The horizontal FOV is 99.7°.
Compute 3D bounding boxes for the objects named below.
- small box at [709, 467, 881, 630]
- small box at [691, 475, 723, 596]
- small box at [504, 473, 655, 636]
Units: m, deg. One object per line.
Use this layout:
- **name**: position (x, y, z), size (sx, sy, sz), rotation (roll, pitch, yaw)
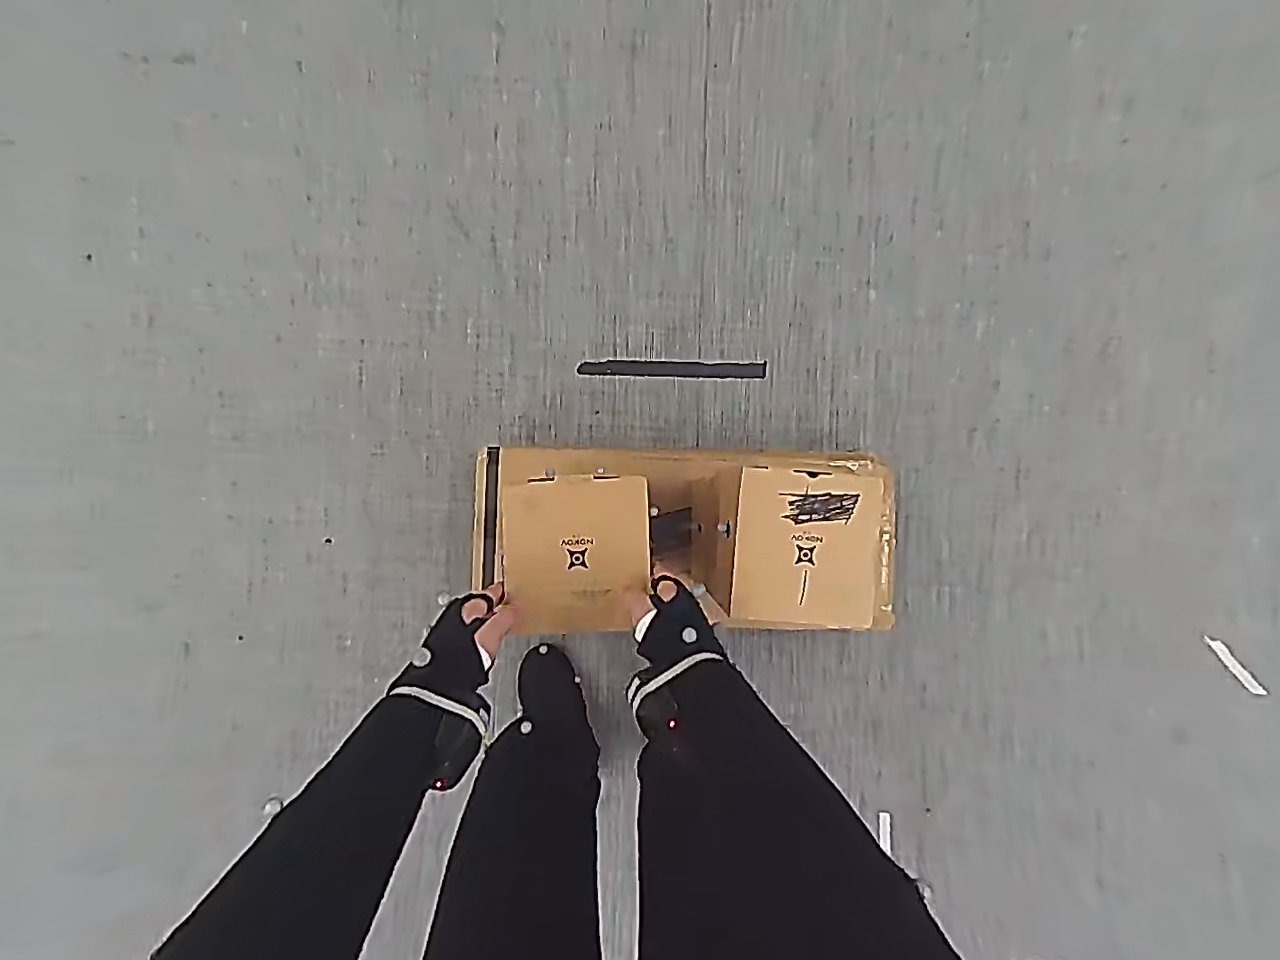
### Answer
- **small box**: position (0.186, 0.080, 0.694), size (0.168, 0.176, 0.179), rotation (4, 89, -1)
- **small box**: position (0.173, 0.085, 0.858), size (0.168, 0.176, 0.179), rotation (1, 89, -1)
- **small box**: position (-0.071, 0.086, 0.686), size (0.168, 0.176, 0.179), rotation (-4, 90, -1)
